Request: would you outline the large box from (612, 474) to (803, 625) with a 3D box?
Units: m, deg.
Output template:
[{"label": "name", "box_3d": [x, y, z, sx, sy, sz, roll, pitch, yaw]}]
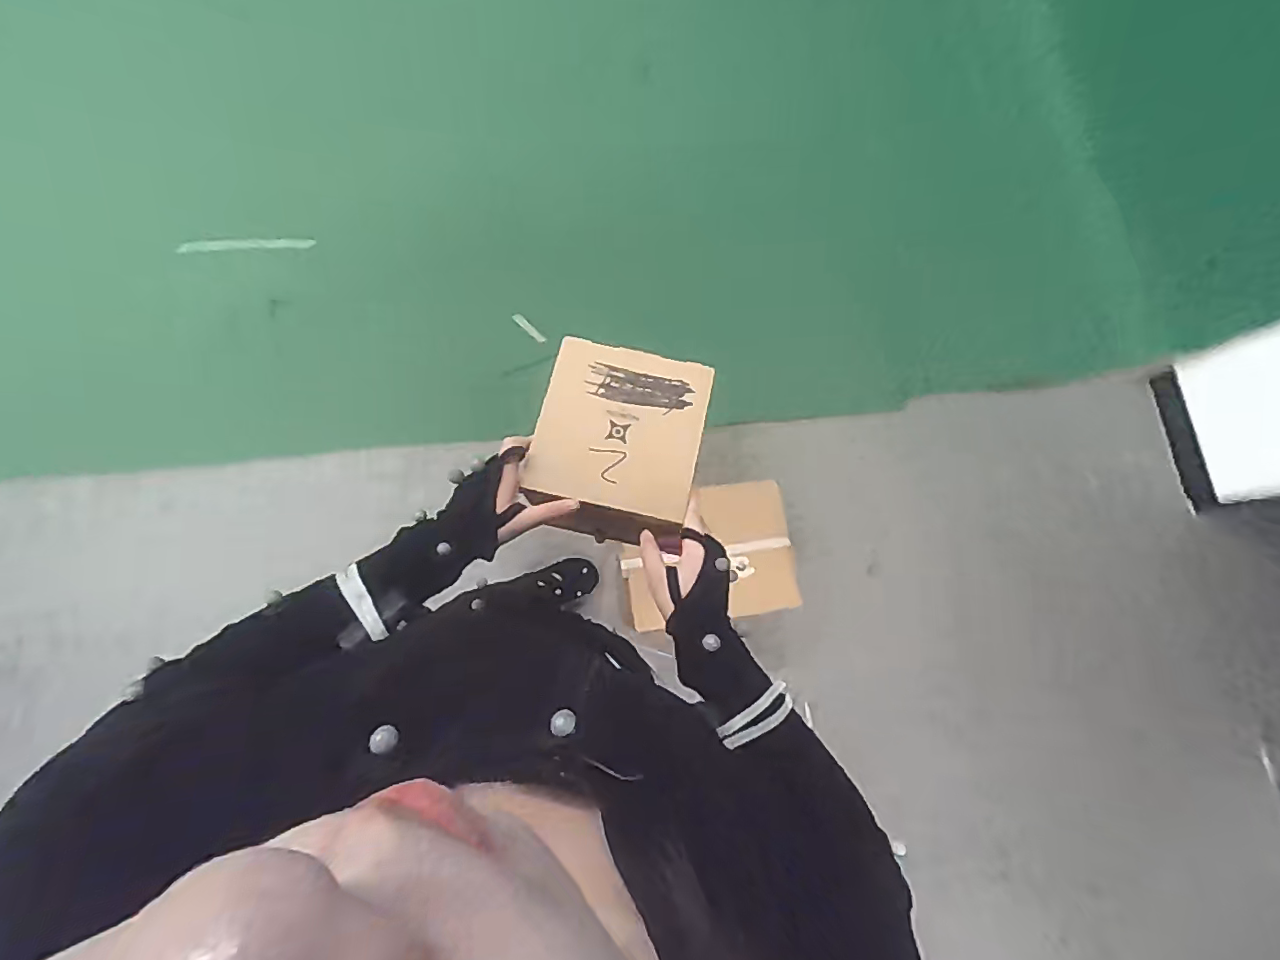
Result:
[{"label": "large box", "box_3d": [0.152, 0.187, 1.415, 0.408, 0.320, 0.320, -6, 80, -9]}]
